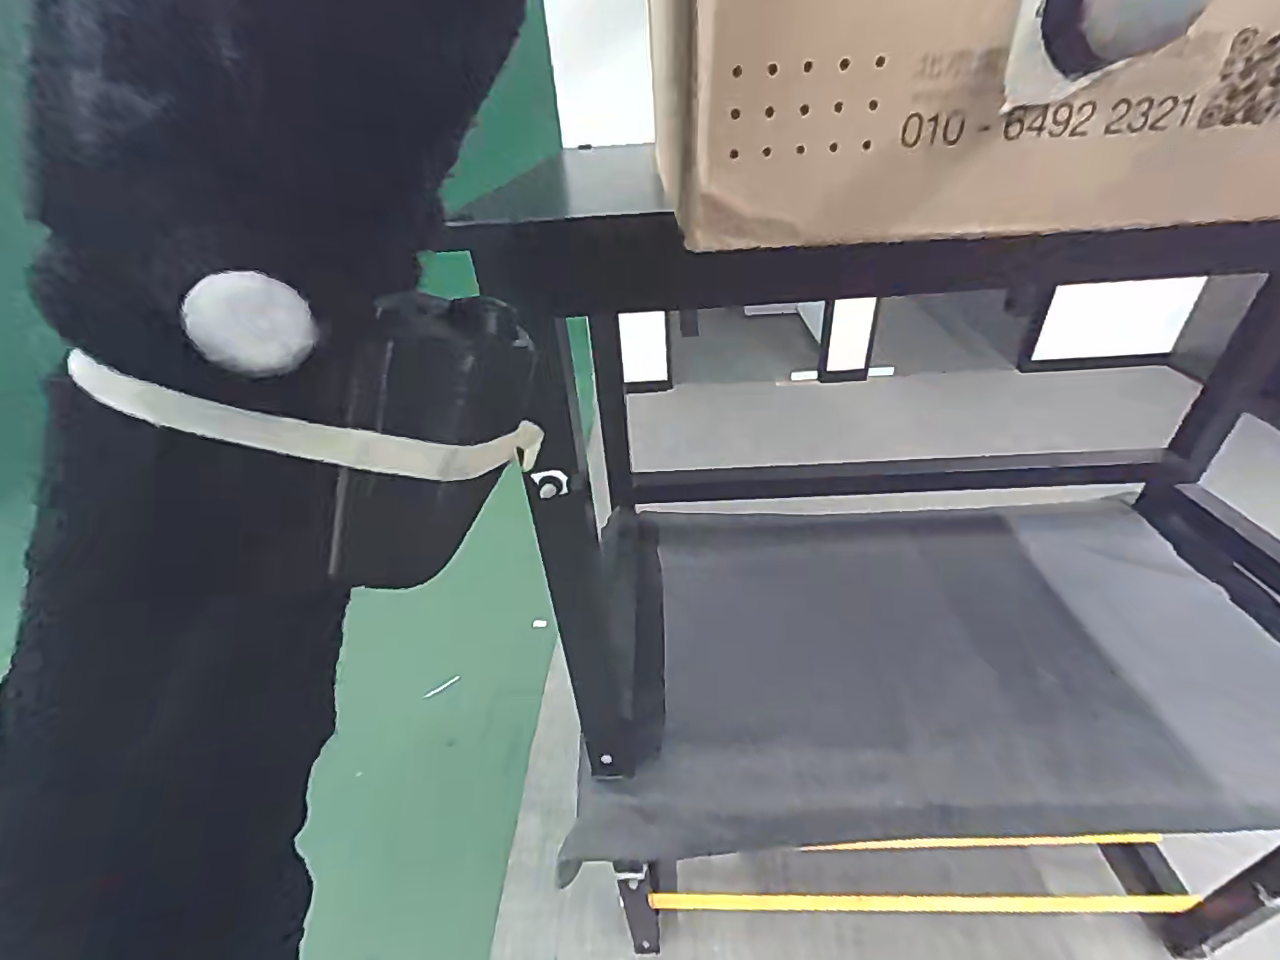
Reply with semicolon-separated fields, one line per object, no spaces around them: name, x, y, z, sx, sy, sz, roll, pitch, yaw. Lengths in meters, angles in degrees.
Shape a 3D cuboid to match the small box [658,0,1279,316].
small box;0.088;-0.154;0.145;0.168;0.176;0.179;-4;36;2
